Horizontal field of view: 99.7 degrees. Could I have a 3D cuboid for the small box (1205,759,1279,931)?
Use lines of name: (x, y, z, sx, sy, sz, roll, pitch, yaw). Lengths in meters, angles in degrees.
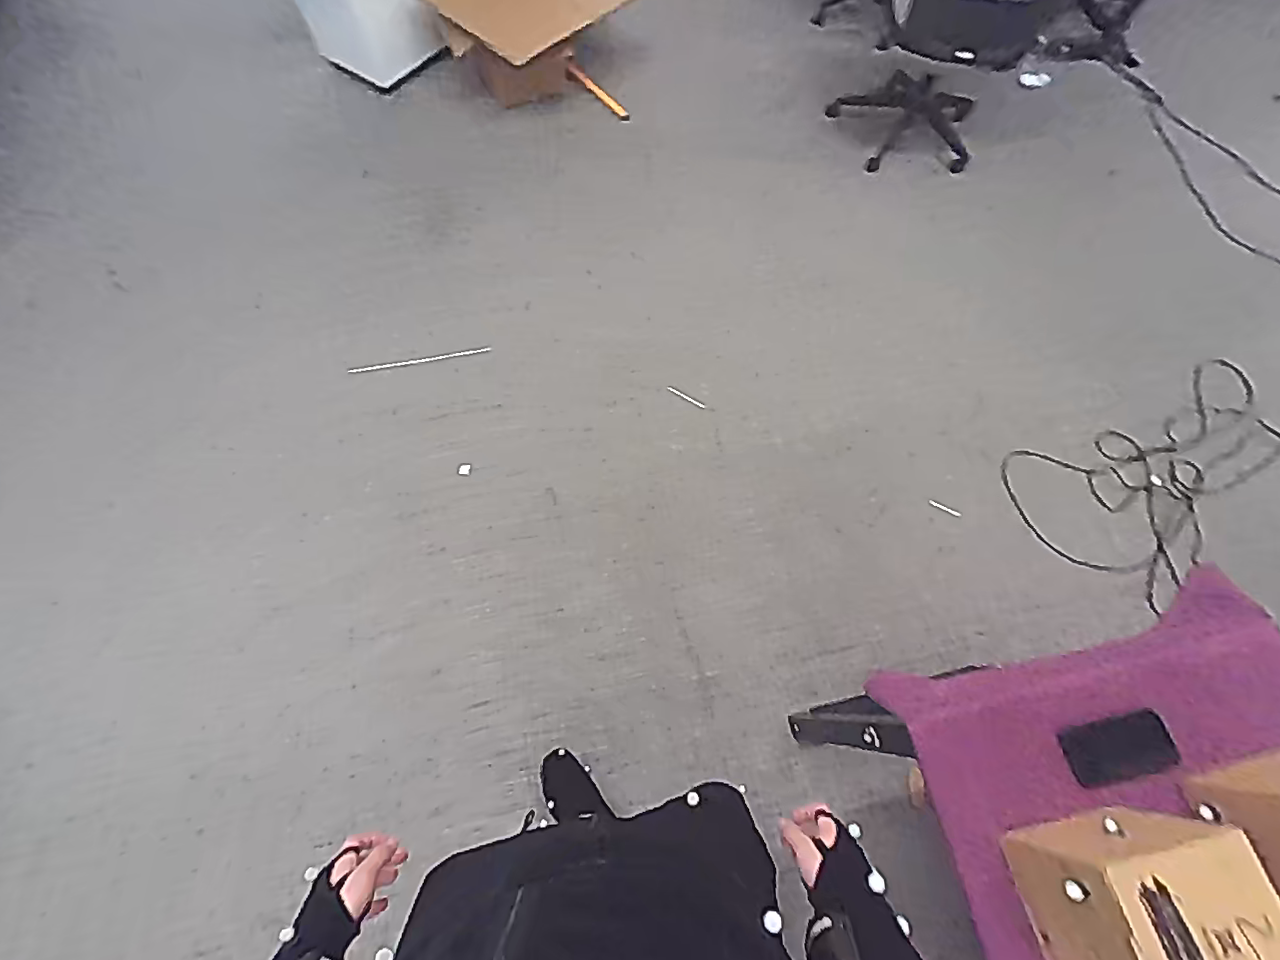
small box: (0.837, 0.435, 0.632, 0.179, 0.176, 0.168, -11, 67, -7)
